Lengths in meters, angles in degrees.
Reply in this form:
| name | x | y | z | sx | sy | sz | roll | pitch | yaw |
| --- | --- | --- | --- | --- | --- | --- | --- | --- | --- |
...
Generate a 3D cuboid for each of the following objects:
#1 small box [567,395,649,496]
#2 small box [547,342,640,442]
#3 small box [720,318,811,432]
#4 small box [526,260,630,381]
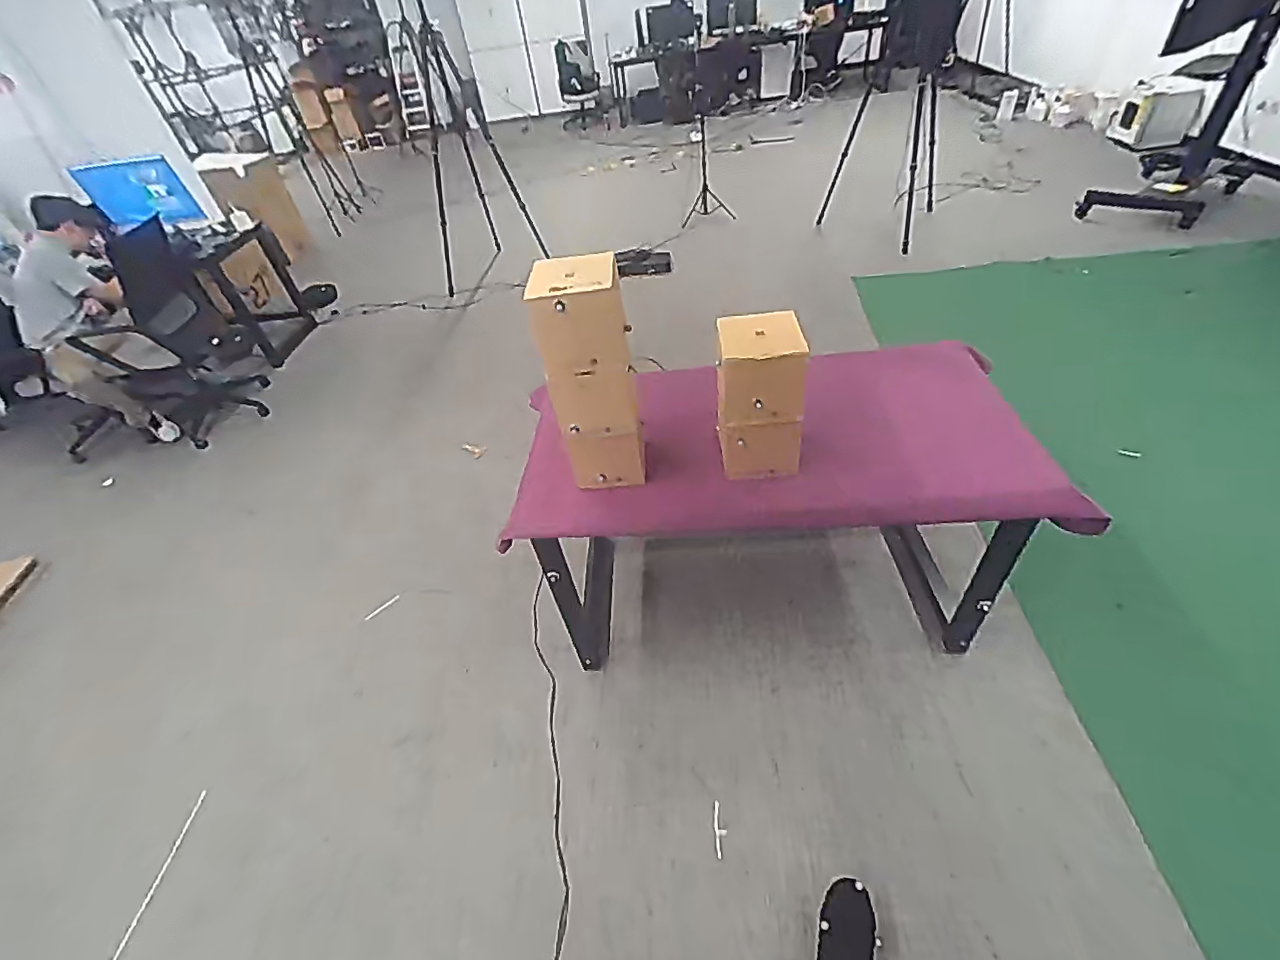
| name | x | y | z | sx | sy | sz | roll | pitch | yaw |
| --- | --- | --- | --- | --- | --- | --- | --- | --- | --- |
| small box | -0.072 | -0.083 | 1.311 | 0.168 | 0.176 | 0.179 | -5 | 43 | 6 |
| small box | -0.094 | -0.196 | 1.194 | 0.168 | 0.176 | 0.179 | -6 | 41 | 6 |
| small box | 0.259 | -0.224 | 1.156 | 0.168 | 0.176 | 0.179 | -5 | 43 | 6 |
| small box | -0.116 | -0.320 | 1.089 | 0.168 | 0.176 | 0.179 | -6 | 42 | 6 |
